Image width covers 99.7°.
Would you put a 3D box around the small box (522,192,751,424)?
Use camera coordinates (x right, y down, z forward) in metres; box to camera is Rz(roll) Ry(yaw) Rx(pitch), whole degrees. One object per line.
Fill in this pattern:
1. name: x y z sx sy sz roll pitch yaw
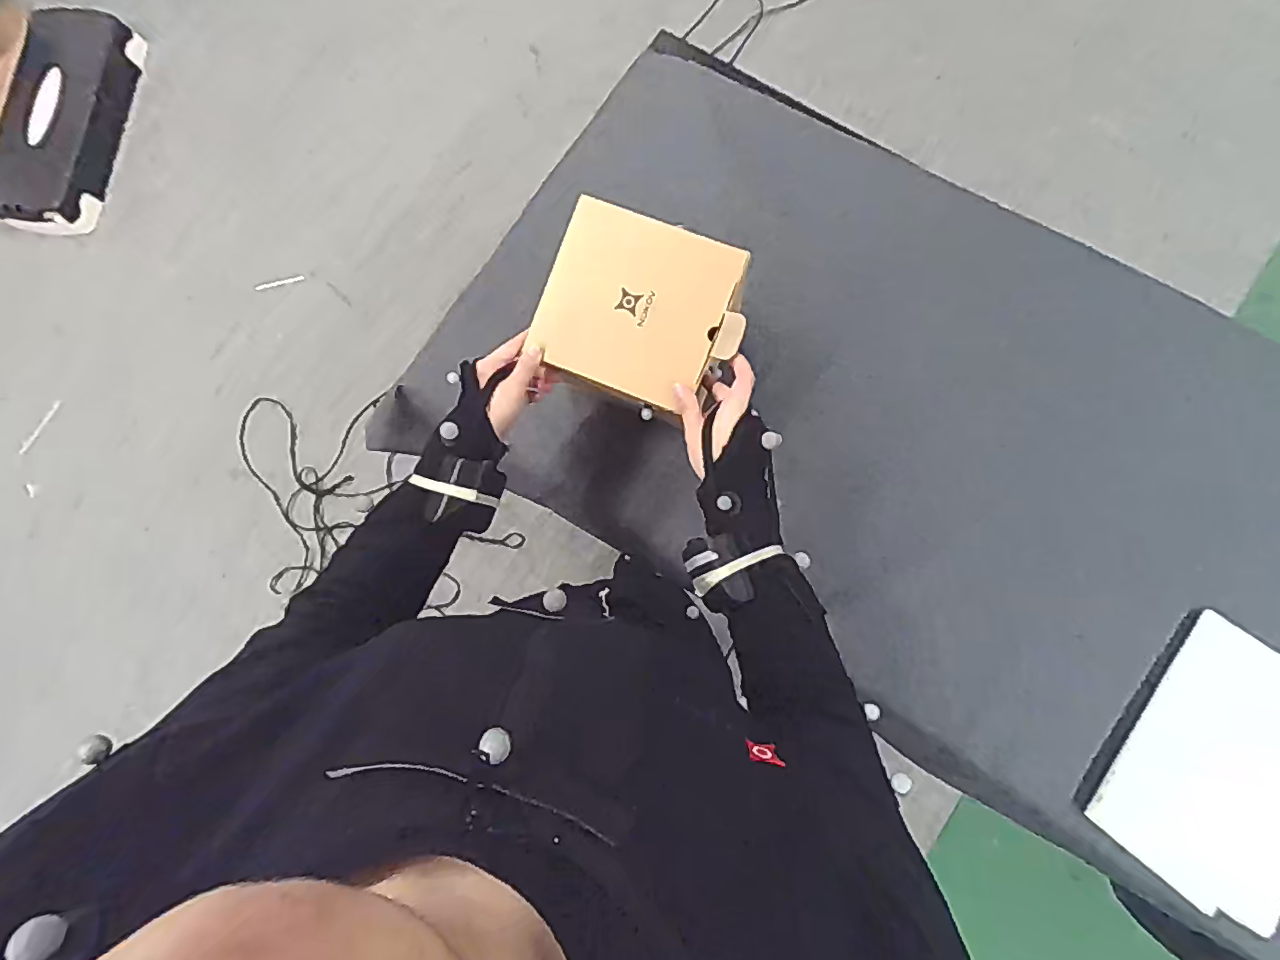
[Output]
1. small box: 0.002 -0.170 0.592 0.179 0.176 0.168 22 91 5
